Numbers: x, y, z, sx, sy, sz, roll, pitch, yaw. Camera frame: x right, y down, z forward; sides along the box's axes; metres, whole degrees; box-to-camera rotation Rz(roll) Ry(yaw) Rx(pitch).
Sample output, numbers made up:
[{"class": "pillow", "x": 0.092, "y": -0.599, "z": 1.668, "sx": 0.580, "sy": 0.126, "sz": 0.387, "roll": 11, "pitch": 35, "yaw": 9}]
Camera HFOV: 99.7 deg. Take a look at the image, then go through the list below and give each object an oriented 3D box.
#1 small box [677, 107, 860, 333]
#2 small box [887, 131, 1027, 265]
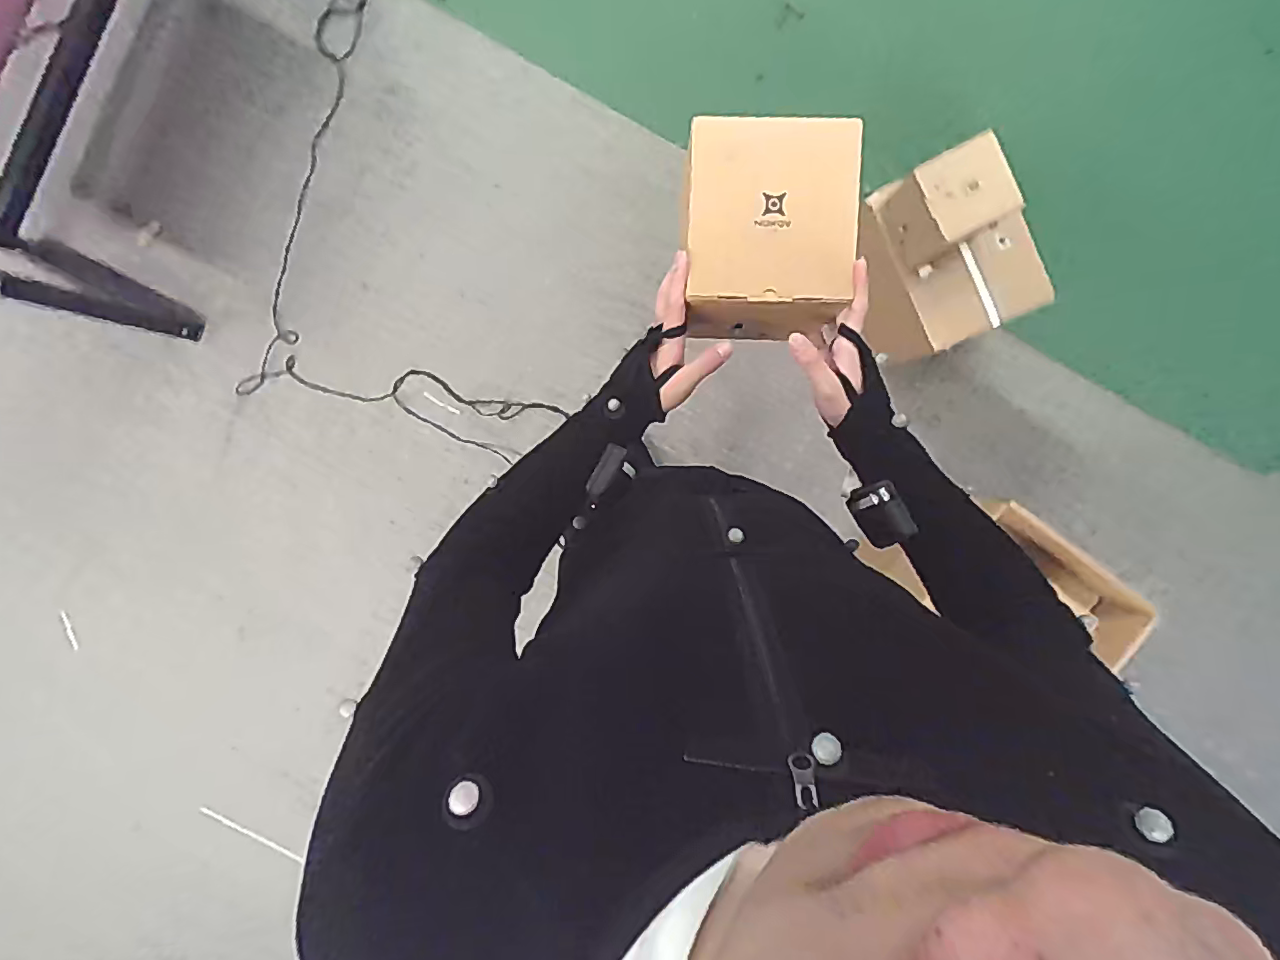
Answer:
[{"class": "small box", "x": 0.128, "y": -0.272, "z": 0.599, "sx": 0.168, "sy": 0.176, "sz": 0.179, "roll": 1, "pitch": 93, "yaw": 1}, {"class": "small box", "x": 0.675, "y": -0.599, "z": 1.172, "sx": 0.179, "sy": 0.176, "sz": 0.168, "roll": -26, "pitch": 93, "yaw": 4}]
